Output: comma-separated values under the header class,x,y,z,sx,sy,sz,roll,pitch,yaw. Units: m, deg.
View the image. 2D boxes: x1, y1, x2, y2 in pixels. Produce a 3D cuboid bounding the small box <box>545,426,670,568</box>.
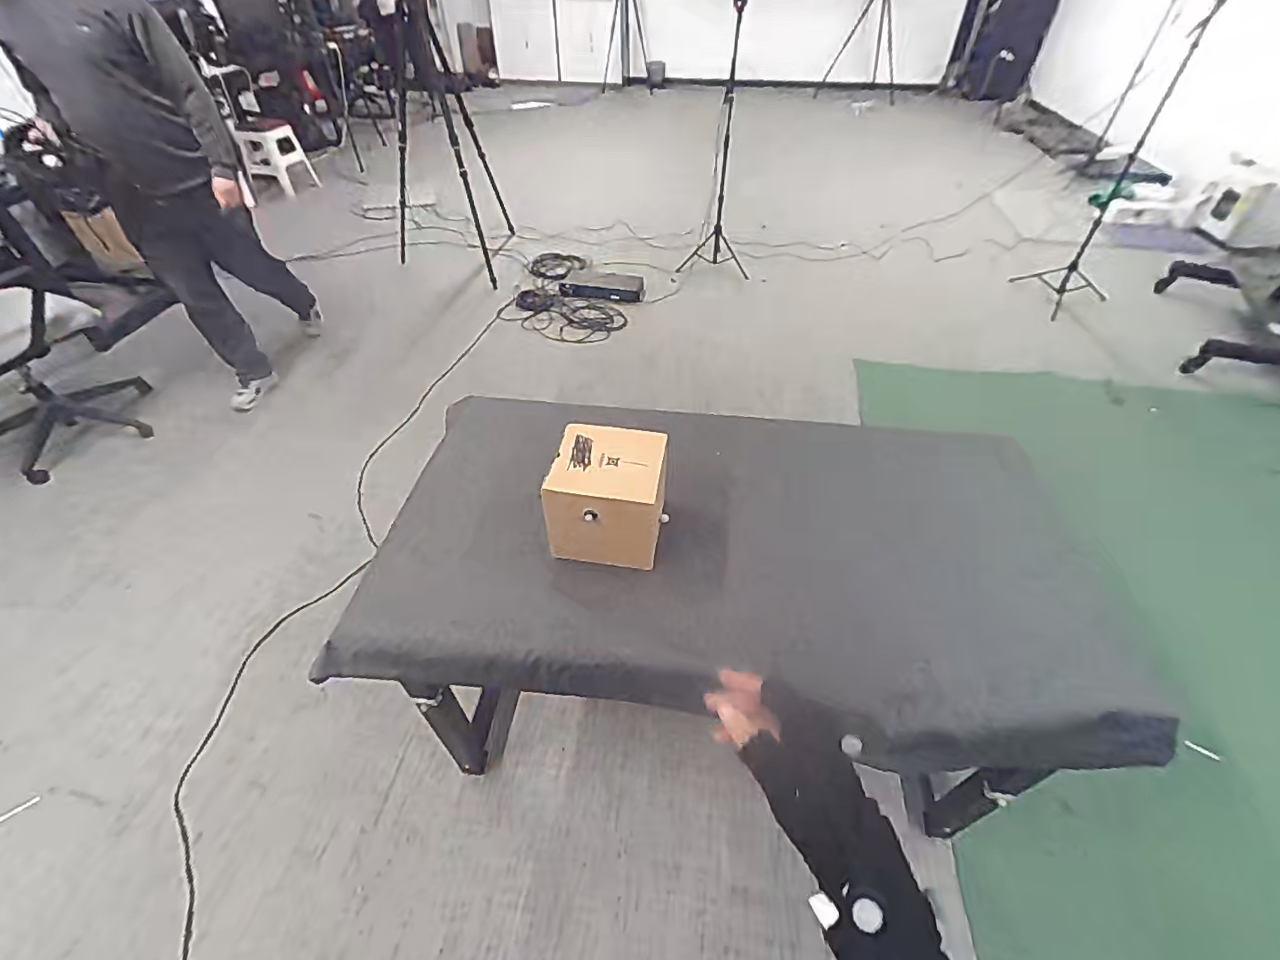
class,x,y,z,sx,sy,sz,roll,pitch,yaw
small box,-0.048,0.031,0.920,0.179,0.176,0.168,7,45,6
